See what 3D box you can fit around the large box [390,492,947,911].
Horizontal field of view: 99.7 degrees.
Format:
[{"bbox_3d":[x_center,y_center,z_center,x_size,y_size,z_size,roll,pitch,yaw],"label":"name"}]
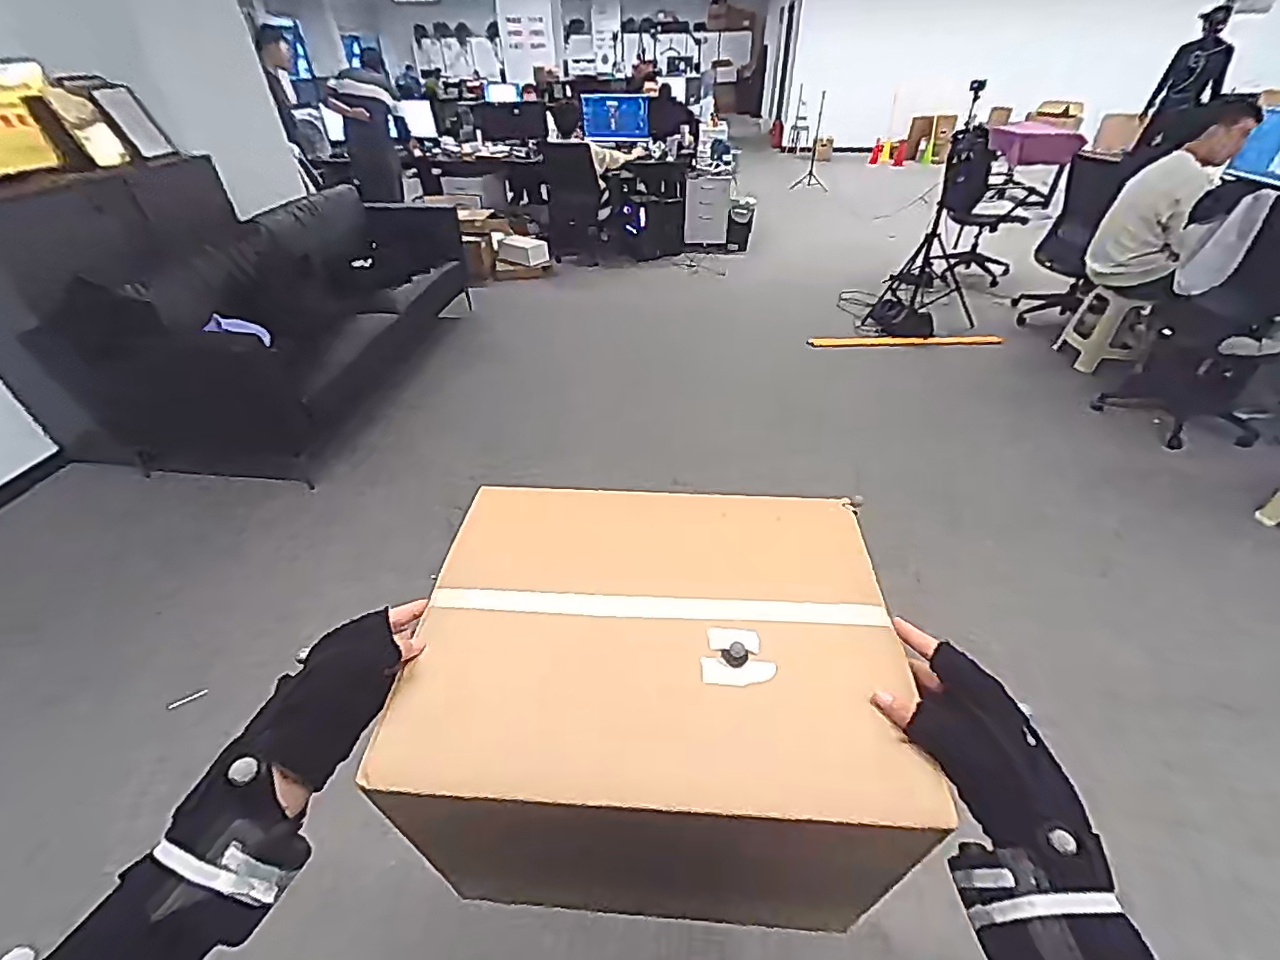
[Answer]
[{"bbox_3d":[0.022,0.232,0.587,0.408,0.320,0.320,3,41,3],"label":"large box"}]
